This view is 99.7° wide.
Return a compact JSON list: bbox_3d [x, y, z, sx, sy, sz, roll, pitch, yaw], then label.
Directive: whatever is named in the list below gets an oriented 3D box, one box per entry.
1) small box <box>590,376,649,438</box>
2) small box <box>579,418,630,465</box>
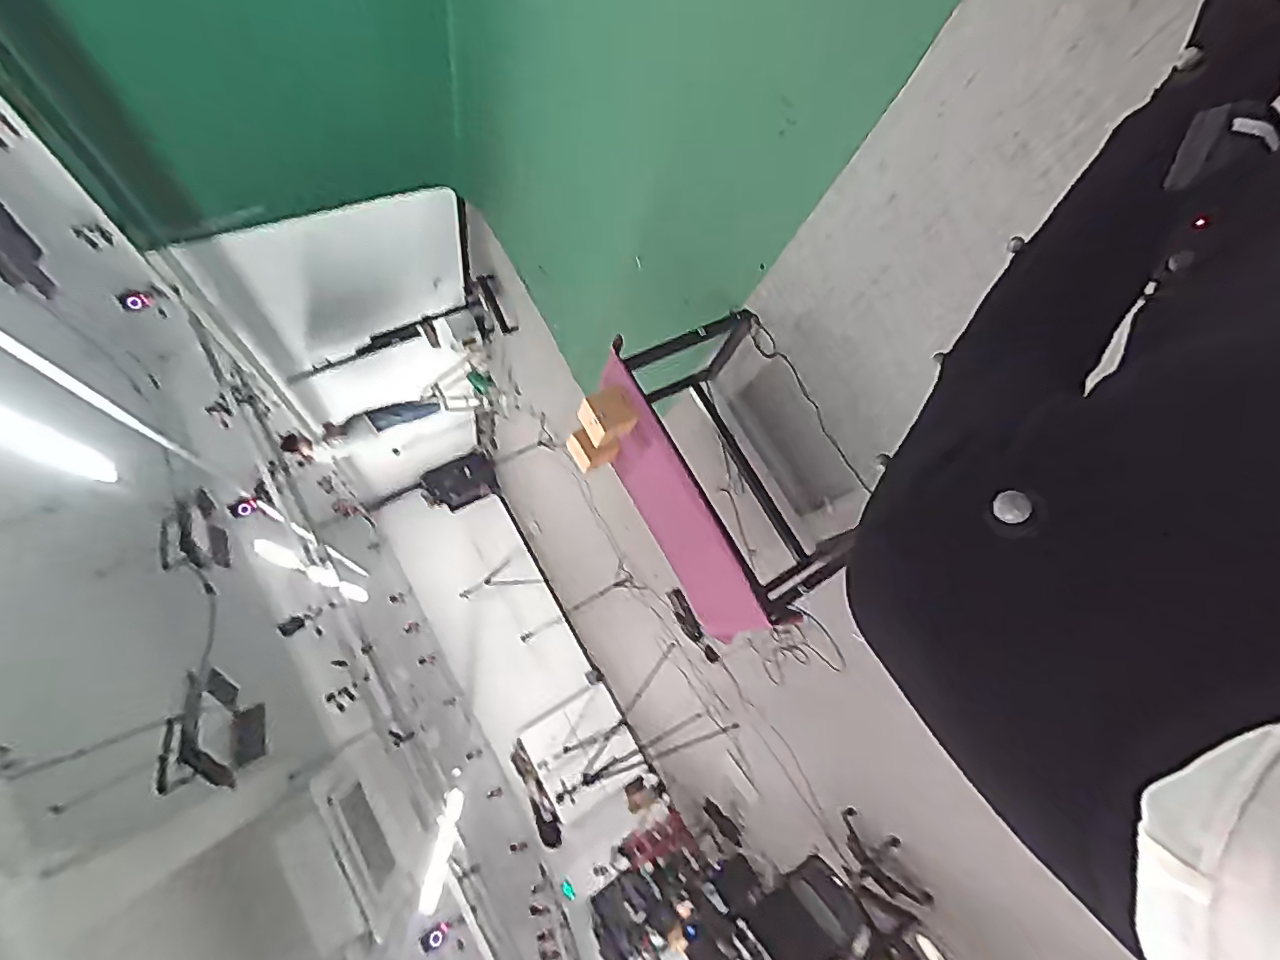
[{"bbox_3d":[-0.084,-0.302,2.233,0.168,0.176,0.179,59,159,7],"label":"small box"},{"bbox_3d":[-0.167,-0.201,2.564,0.168,0.176,0.179,57,158,8],"label":"small box"}]
